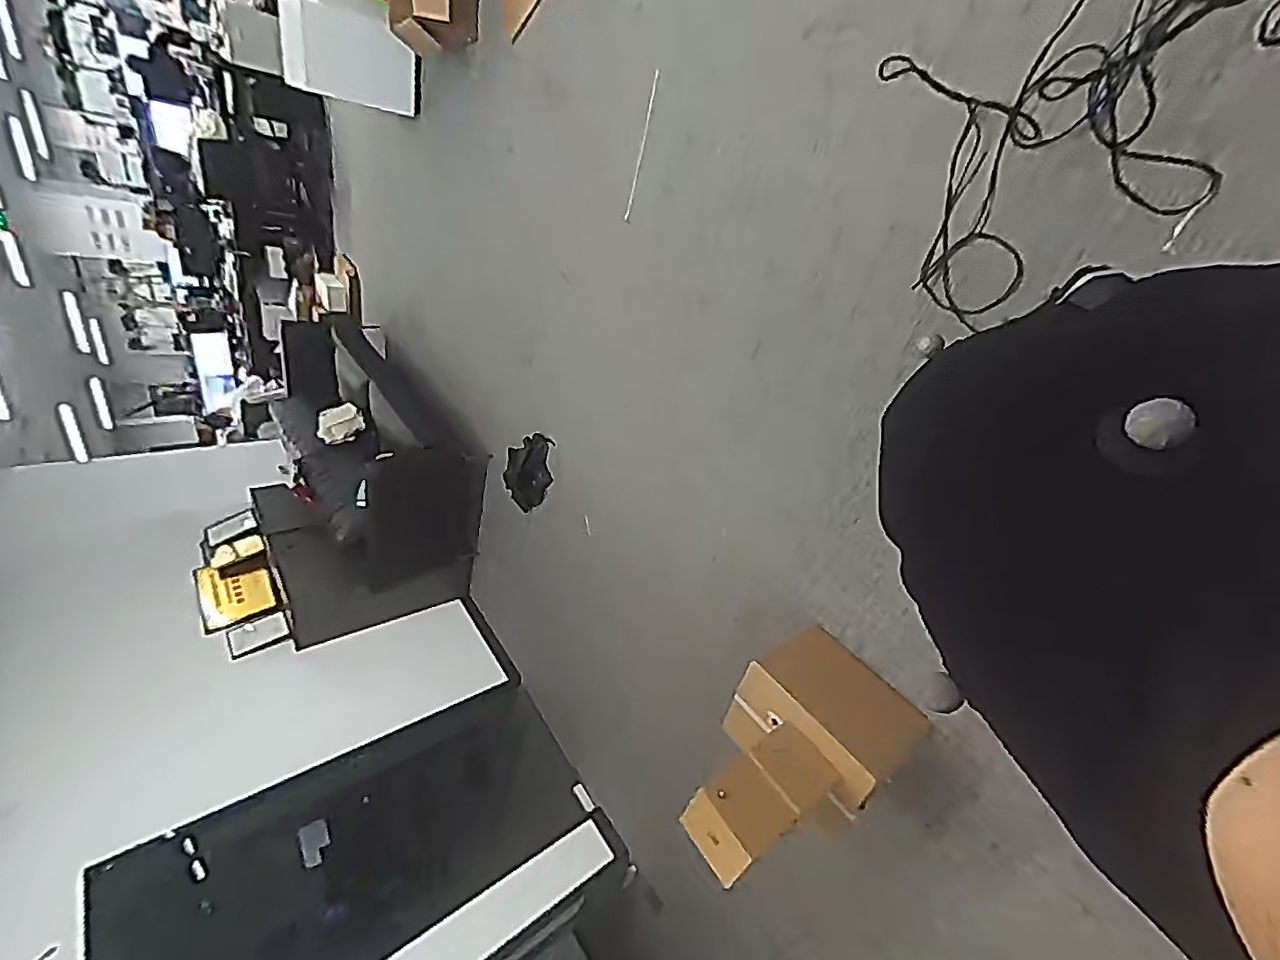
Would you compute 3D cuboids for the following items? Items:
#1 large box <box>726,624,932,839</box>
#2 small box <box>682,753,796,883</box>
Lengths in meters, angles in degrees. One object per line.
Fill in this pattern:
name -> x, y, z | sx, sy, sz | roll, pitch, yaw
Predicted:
large box -> 0.527, 0.695, 1.554 | 0.408, 0.320, 0.320 | 41, 128, 38
small box -> 0.236, 0.795, 1.285 | 0.179, 0.176, 0.168 | 45, 132, 35
